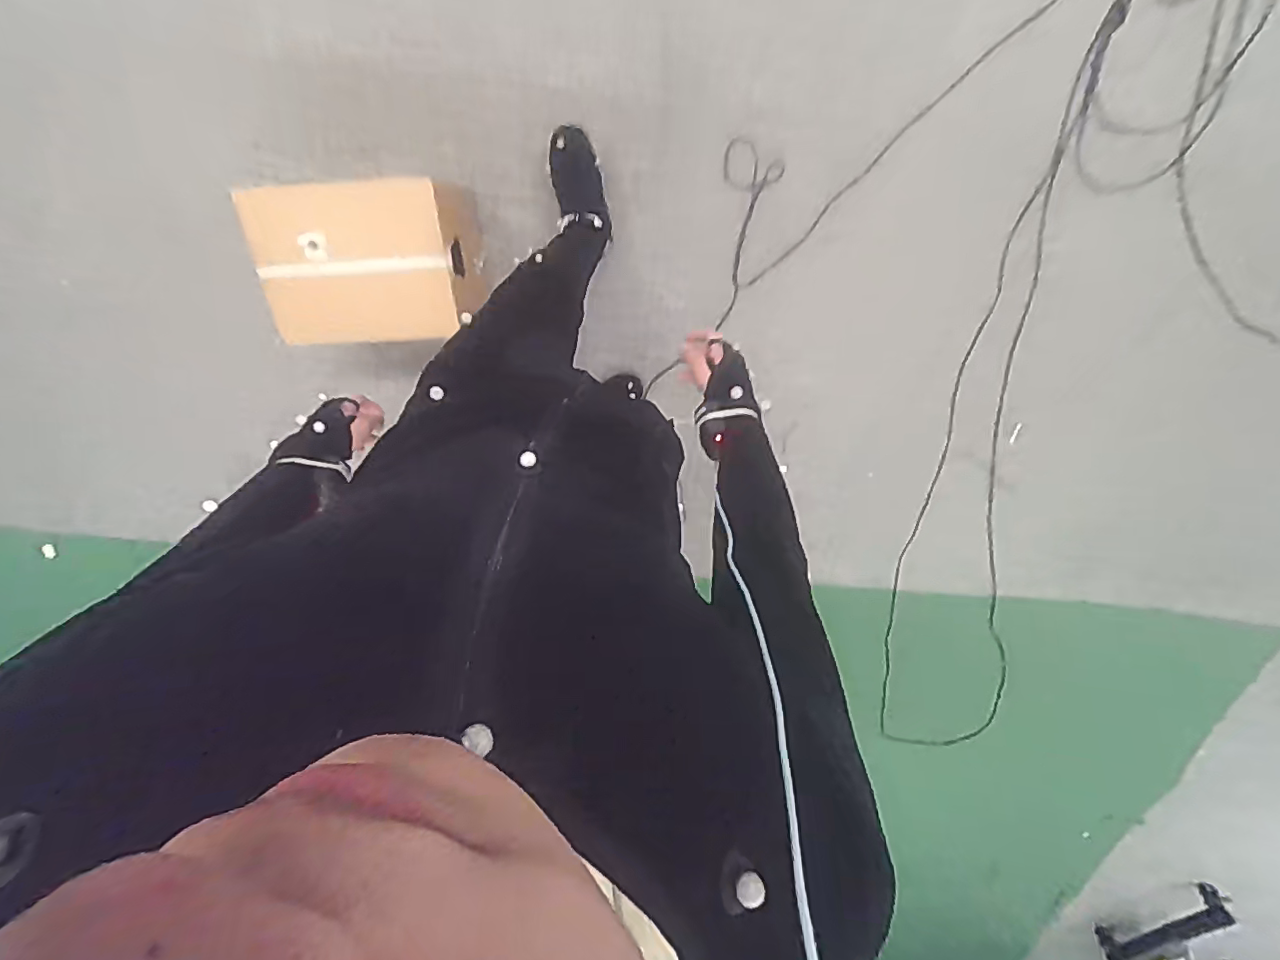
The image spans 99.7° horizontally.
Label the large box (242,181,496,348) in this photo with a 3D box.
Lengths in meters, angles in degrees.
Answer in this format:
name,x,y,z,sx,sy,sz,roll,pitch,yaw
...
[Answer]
name,x,y,z,sx,sy,sz,roll,pitch,yaw
large box,-0.595,-0.510,1.279,0.408,0.320,0.320,-3,115,1
